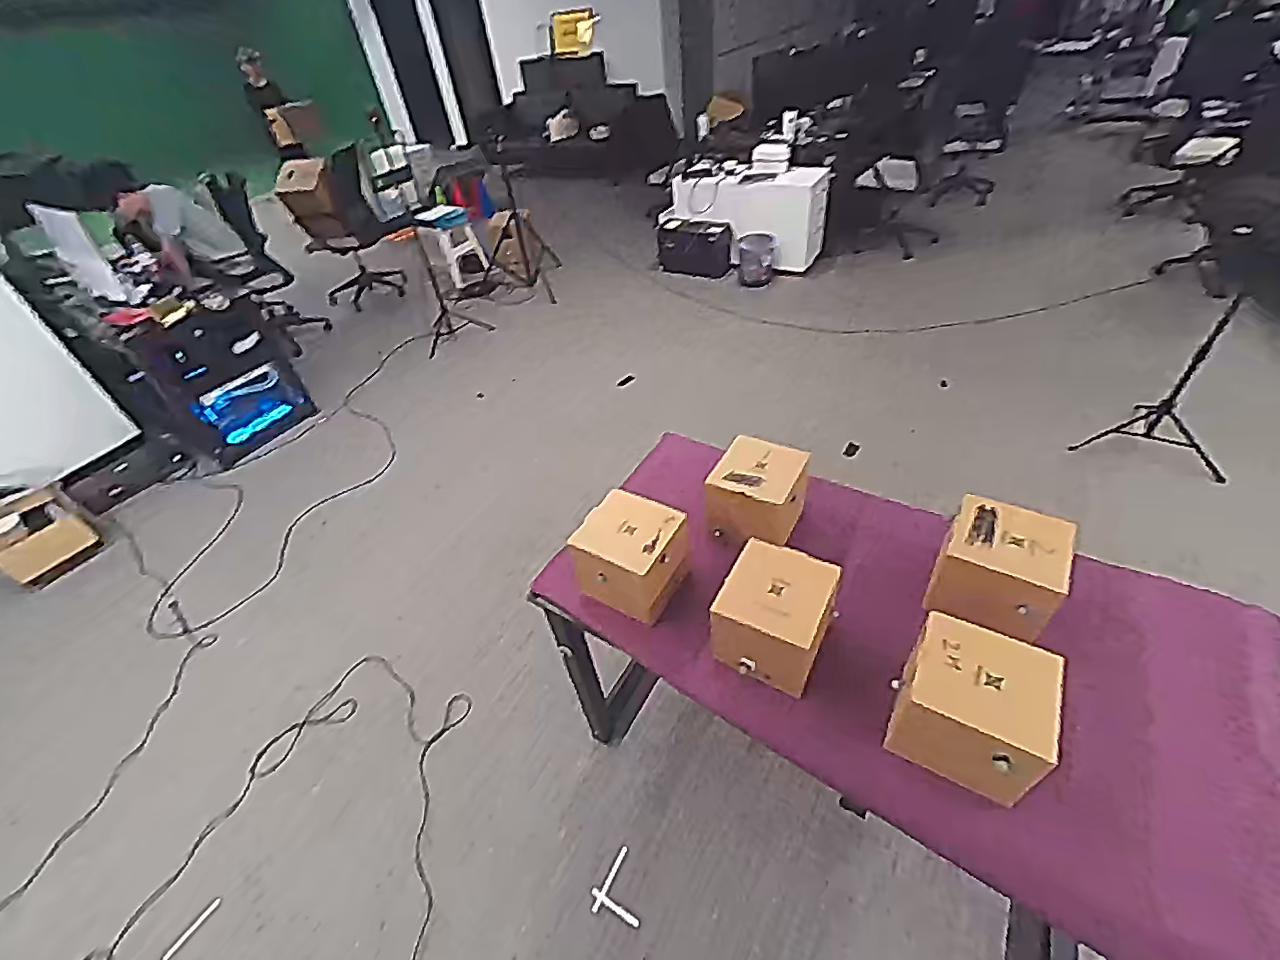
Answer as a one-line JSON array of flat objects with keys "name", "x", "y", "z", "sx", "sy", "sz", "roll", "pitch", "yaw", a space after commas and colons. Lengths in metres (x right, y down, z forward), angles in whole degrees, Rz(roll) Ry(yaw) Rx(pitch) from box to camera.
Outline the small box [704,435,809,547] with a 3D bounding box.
[{"name": "small box", "x": 0.253, "y": 0.034, "z": 1.173, "sx": 0.168, "sy": 0.176, "sz": 0.179, "roll": 19, "pitch": 49, "yaw": 26}]

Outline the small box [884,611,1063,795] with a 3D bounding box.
[{"name": "small box", "x": 0.488, "y": 0.335, "z": 0.806, "sx": 0.179, "sy": 0.176, "sz": 0.168, "roll": 19, "pitch": 48, "yaw": 27}]

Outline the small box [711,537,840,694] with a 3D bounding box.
[{"name": "small box", "x": 0.236, "y": 0.239, "z": 0.956, "sx": 0.168, "sy": 0.176, "sz": 0.179, "roll": 18, "pitch": 50, "yaw": 27}]

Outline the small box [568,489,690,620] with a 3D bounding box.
[{"name": "small box", "x": -0.015, "y": 0.151, "z": 1.086, "sx": 0.179, "sy": 0.176, "sz": 0.168, "roll": 19, "pitch": 50, "yaw": 27}]
